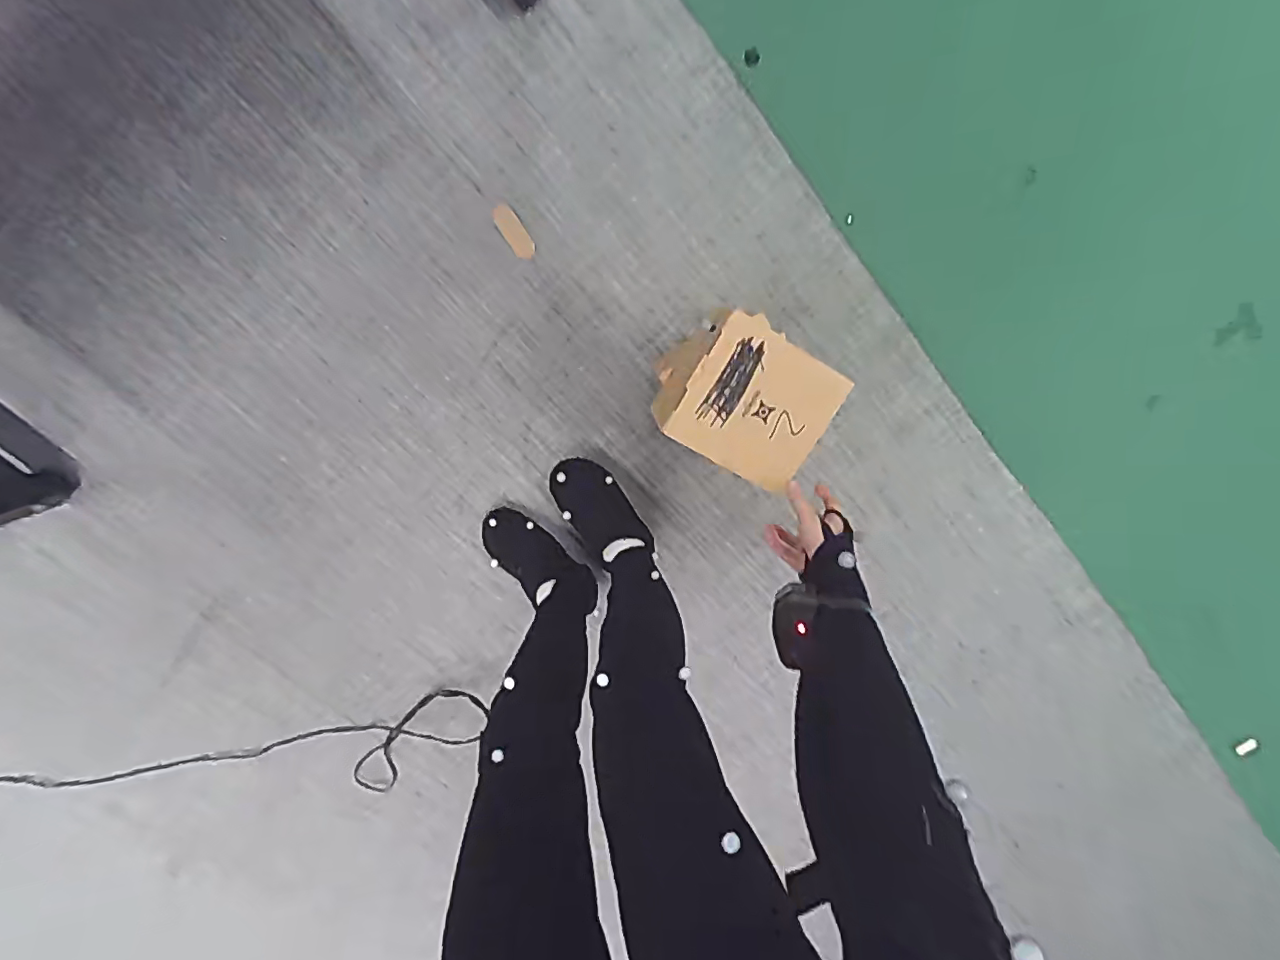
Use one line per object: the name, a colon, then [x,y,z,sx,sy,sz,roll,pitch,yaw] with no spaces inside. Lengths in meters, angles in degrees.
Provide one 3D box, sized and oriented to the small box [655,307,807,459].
small box: [0.135,-0.162,0.875,0.179,0.176,0.168,-30,108,7]
